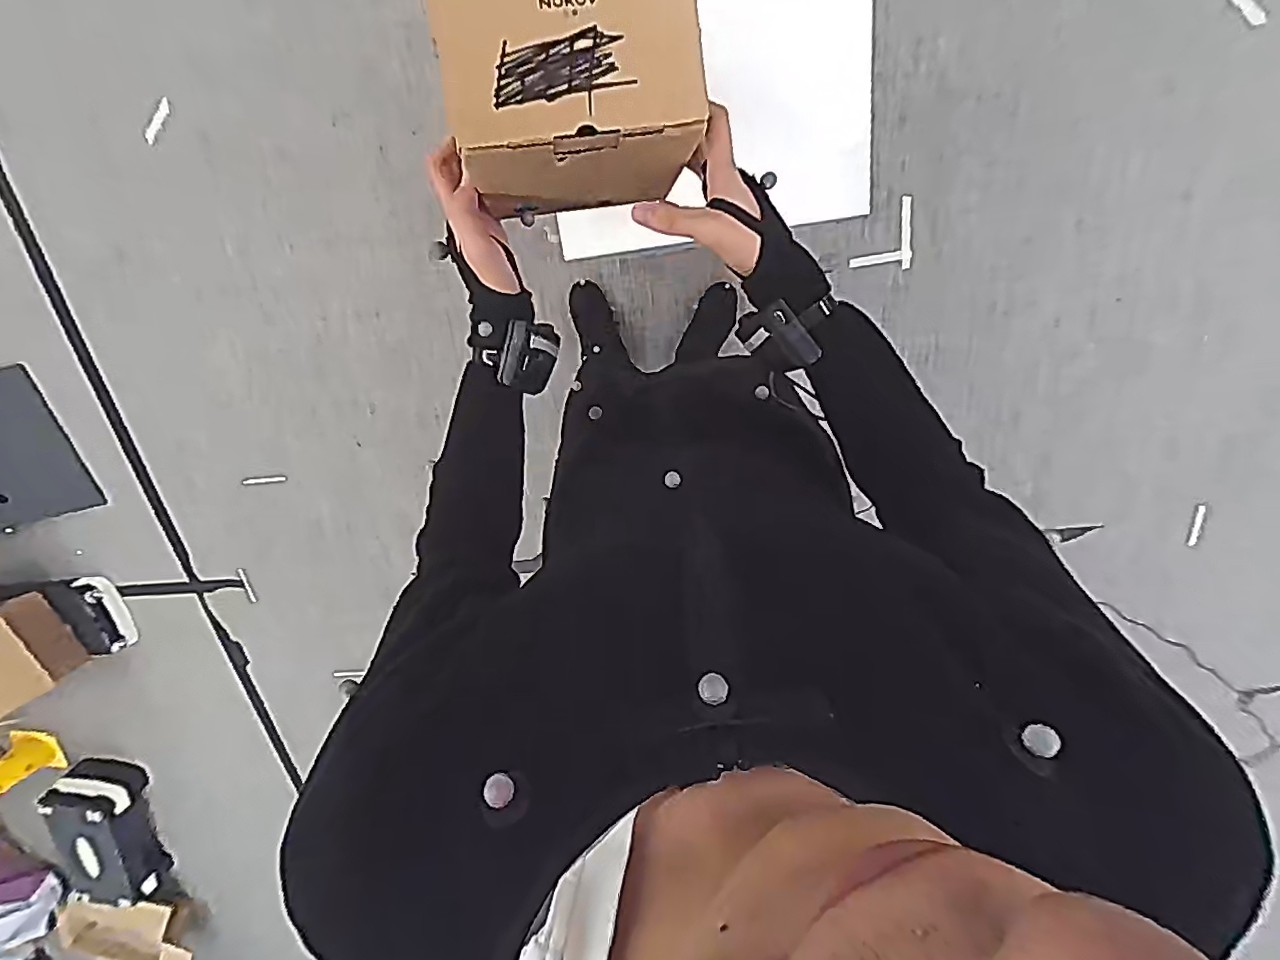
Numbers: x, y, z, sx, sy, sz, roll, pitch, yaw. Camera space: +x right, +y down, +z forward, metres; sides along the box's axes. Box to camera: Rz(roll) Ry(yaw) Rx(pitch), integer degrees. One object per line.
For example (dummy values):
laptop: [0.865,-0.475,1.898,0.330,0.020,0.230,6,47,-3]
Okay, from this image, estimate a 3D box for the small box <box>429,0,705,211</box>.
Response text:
small box: [-0.056,-0.318,0.408,0.168,0.176,0.179,-10,102,-6]
